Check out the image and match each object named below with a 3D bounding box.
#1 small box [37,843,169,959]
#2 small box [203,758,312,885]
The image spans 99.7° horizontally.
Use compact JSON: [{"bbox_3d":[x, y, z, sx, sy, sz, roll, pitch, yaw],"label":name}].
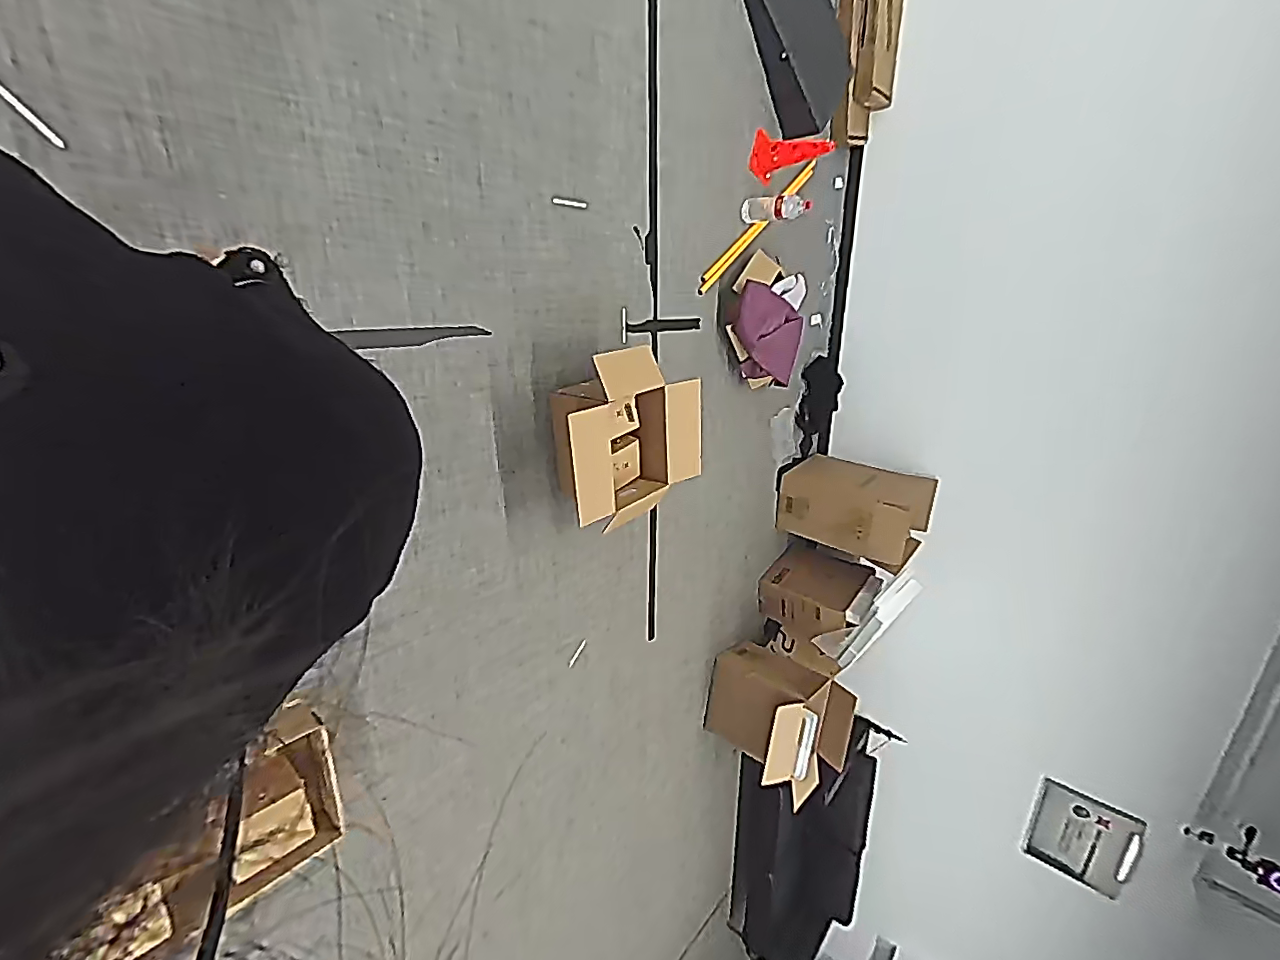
[{"bbox_3d":[-1.158,0.932,1.167,0.168,0.176,0.179,-16,113,-48],"label":"small box"},{"bbox_3d":[-0.968,0.853,1.372,0.179,0.176,0.168,-18,114,-45],"label":"small box"}]
